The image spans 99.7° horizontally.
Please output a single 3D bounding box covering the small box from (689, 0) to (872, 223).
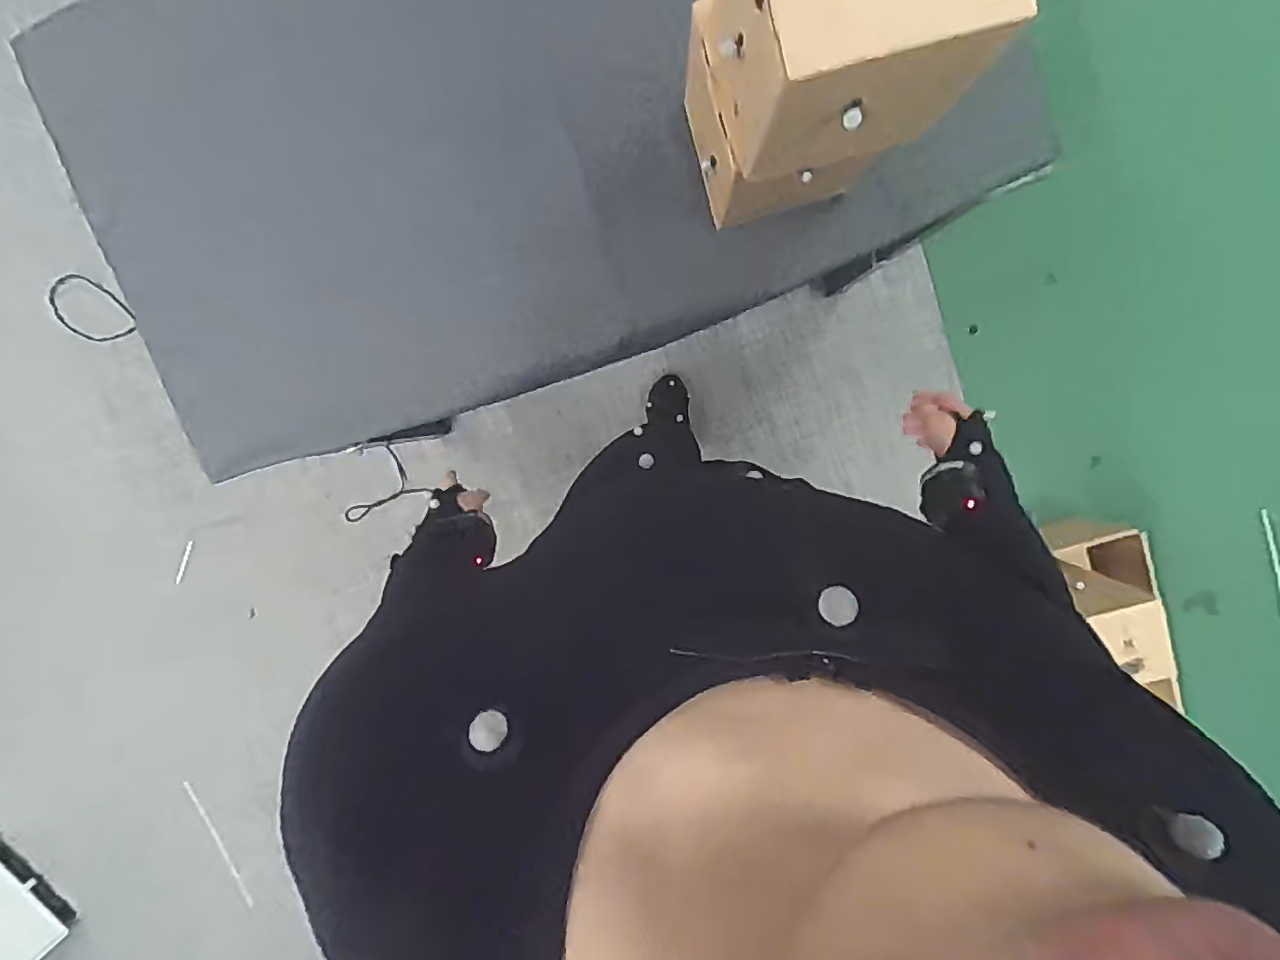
[{"bbox_3d":[0.155,-0.409,0.592,0.179,0.176,0.168,-16,97,3],"label":"small box"}]

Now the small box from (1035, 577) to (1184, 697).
[{"bbox_3d":[1.006,0.333,1.173,0.168,0.176,0.179,-17,96,5],"label":"small box"}]

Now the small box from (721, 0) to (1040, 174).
[{"bbox_3d":[0.165,-0.376,0.430,0.179,0.176,0.168,-13,96,4],"label":"small box"}]
